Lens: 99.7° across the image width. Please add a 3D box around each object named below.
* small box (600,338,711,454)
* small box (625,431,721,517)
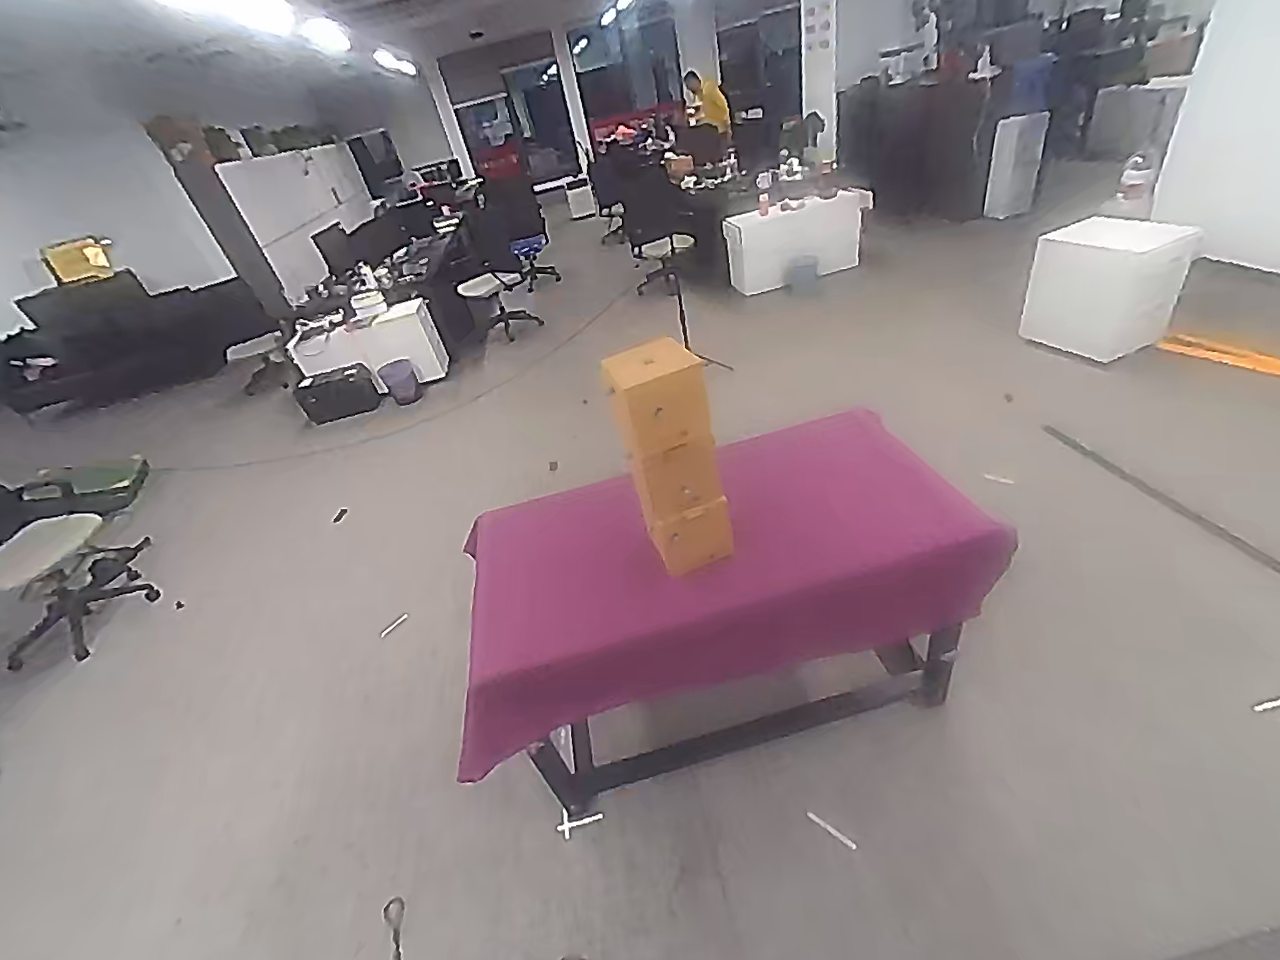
[{"bbox_3d":[0.035,-0.171,1.133,0.168,0.176,0.179,-21,34,-9],"label":"small box"},{"bbox_3d":[0.071,-0.045,1.229,0.168,0.176,0.179,-20,35,-7],"label":"small box"}]
